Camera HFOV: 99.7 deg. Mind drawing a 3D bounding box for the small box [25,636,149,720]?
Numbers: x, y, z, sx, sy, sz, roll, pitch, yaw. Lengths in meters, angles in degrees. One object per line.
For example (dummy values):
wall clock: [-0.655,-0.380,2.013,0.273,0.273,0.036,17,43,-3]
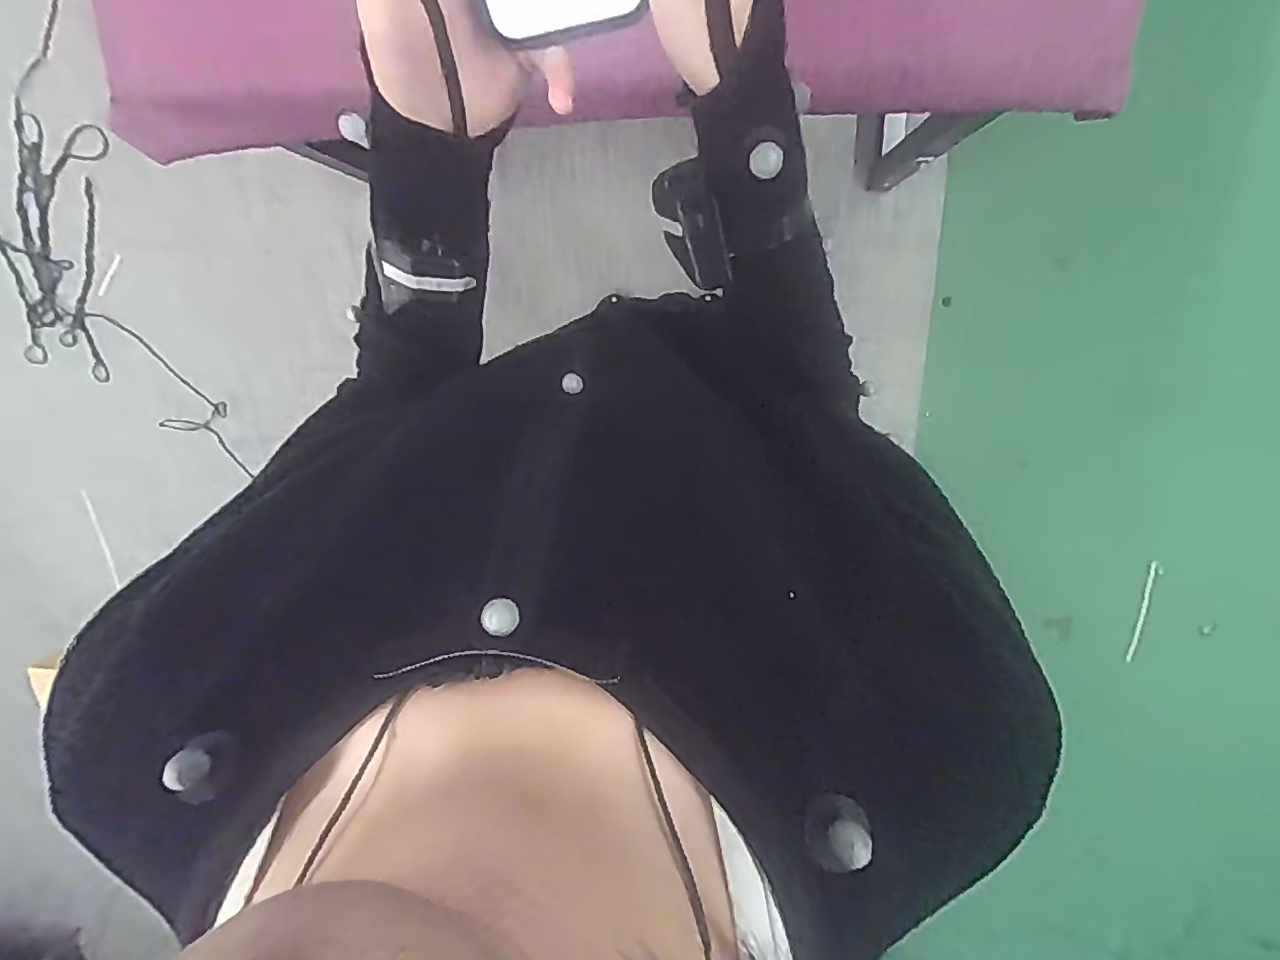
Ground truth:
small box: [-1.626,0.580,1.599,0.179,0.176,0.168,1,107,6]
